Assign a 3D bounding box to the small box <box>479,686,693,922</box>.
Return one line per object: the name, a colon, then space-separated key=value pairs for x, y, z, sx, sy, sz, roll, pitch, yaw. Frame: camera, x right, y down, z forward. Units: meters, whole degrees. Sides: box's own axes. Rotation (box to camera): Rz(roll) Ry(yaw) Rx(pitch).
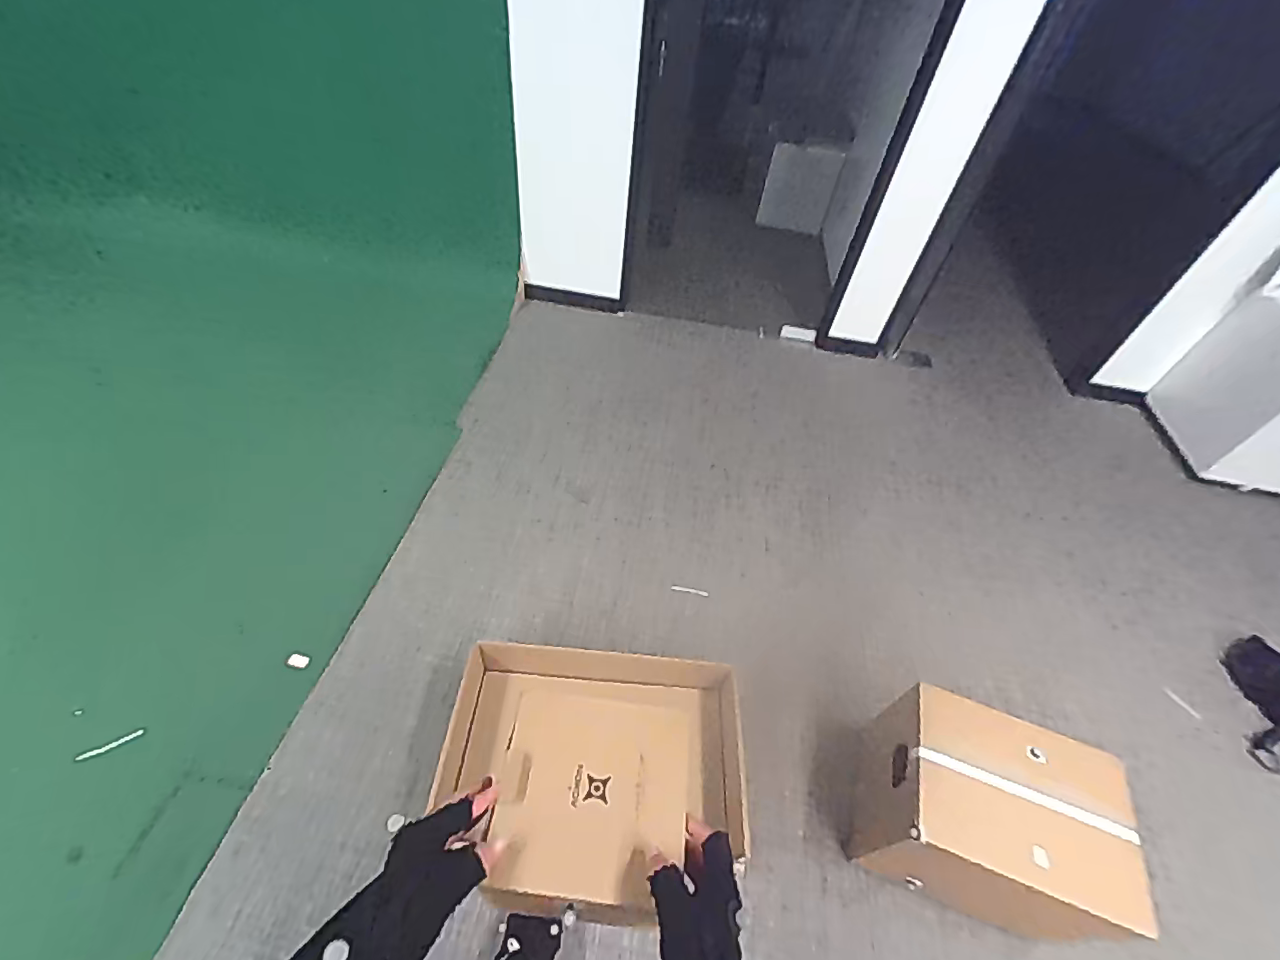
small box: x=-0.047 y=0.335 z=0.555 sx=0.179 sy=0.176 sz=0.168 roll=8 pitch=47 yaw=0
